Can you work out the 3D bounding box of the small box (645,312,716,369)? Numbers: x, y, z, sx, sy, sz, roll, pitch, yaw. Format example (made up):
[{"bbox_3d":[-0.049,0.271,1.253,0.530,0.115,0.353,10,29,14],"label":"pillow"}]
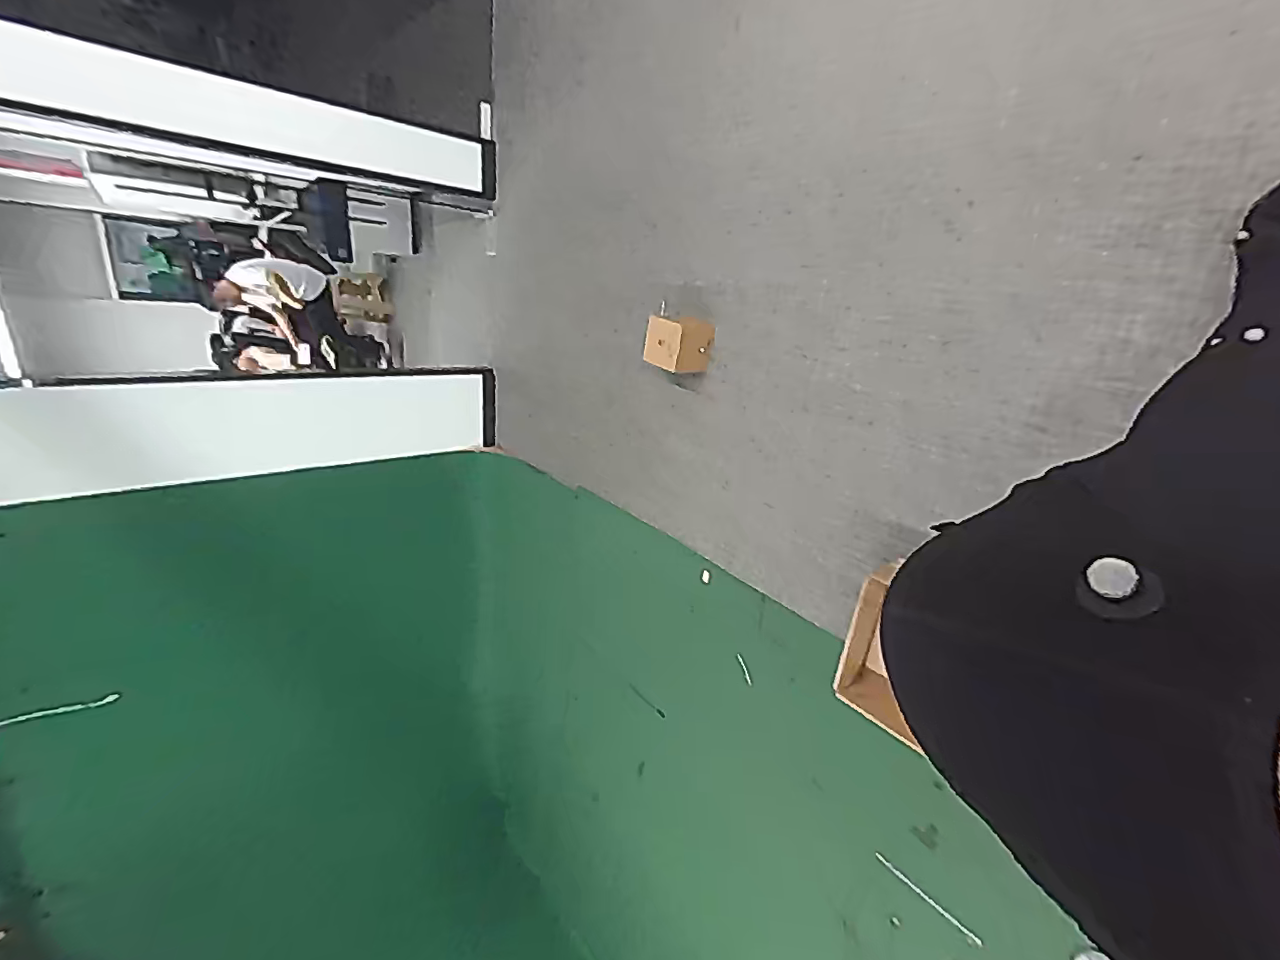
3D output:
[{"bbox_3d":[0.145,-0.503,1.949,0.179,0.176,0.168,33,123,41],"label":"small box"}]
